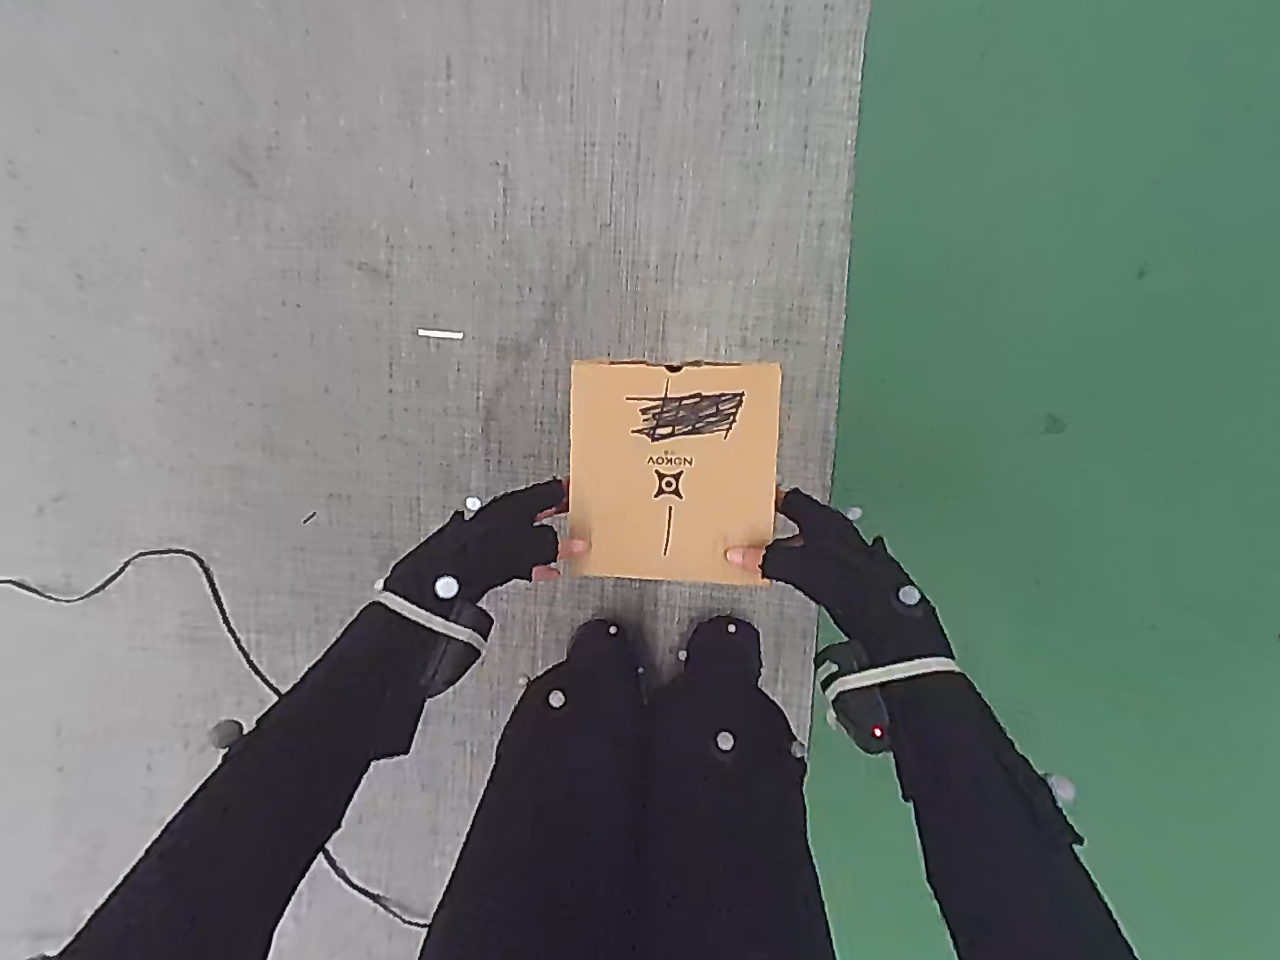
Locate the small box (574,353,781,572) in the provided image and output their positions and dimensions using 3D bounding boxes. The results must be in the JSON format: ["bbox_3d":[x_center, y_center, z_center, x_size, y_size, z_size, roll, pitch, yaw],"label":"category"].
[{"bbox_3d":[0.038,-0.021,0.519,0.168,0.176,0.179,2,96,9],"label":"small box"}]
